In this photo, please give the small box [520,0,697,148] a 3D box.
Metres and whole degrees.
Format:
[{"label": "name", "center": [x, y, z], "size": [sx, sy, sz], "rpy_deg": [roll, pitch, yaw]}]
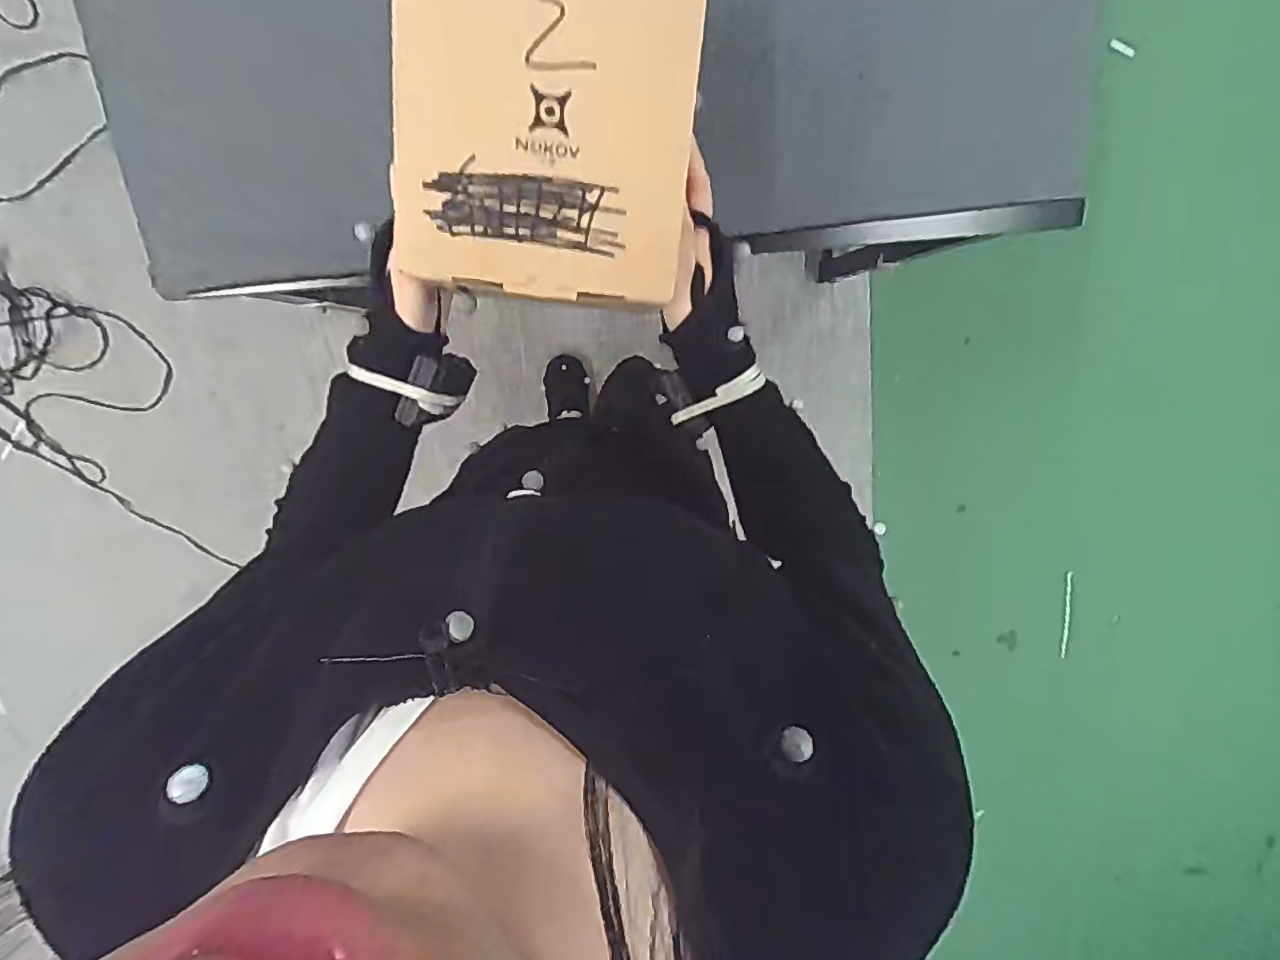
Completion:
[{"label": "small box", "center": [-0.036, -0.476, 0.563], "size": [0.168, 0.176, 0.179], "rpy_deg": [-2, 103, -5]}]
